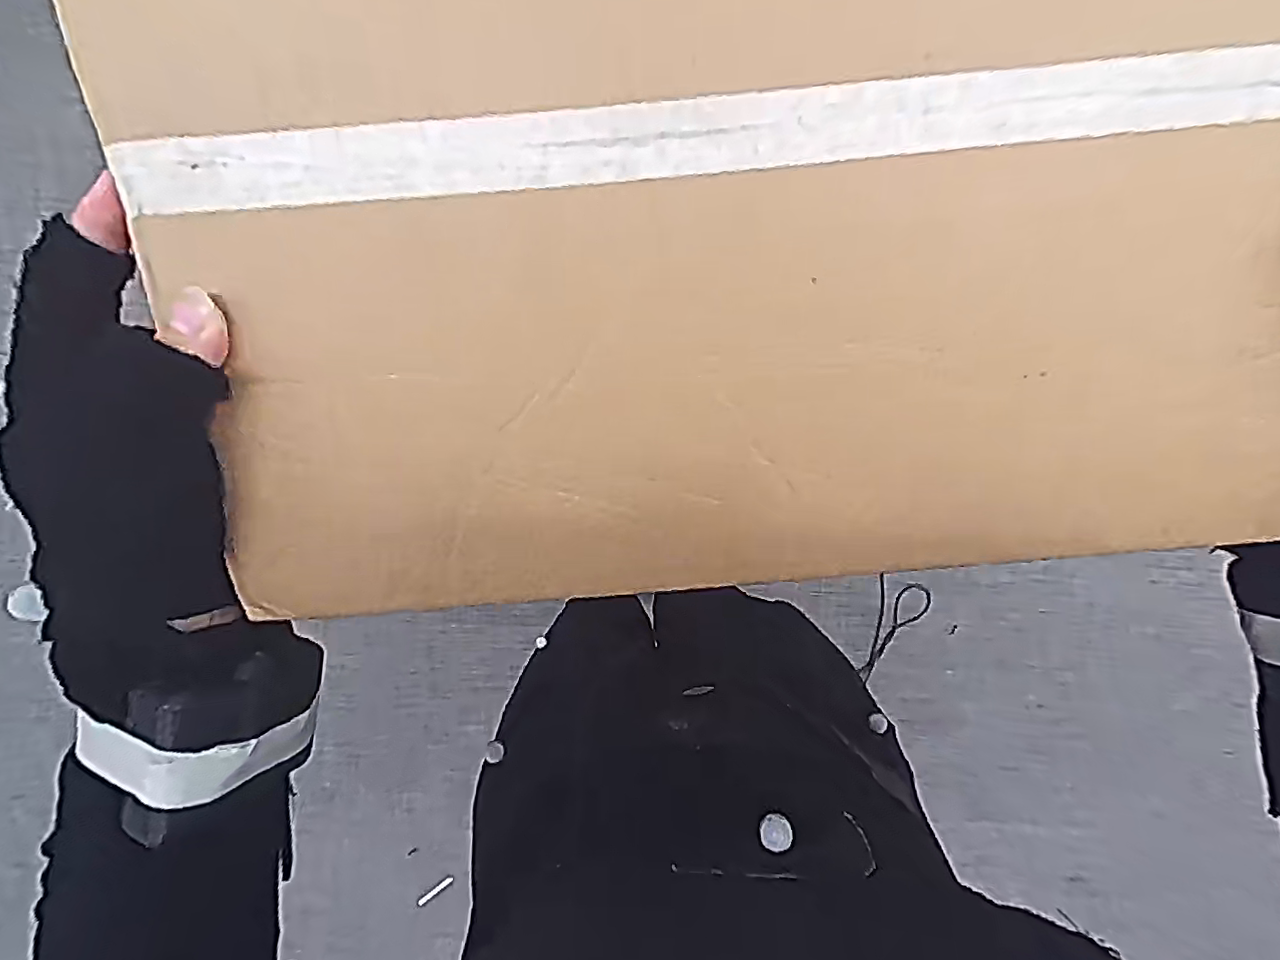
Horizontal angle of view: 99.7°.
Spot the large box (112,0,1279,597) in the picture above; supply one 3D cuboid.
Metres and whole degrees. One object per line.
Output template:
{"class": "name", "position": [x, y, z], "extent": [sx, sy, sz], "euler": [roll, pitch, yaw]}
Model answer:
{"class": "large box", "position": [0.033, -0.153, 0.331], "extent": [0.408, 0.320, 0.320], "euler": [-4, 104, 0]}
